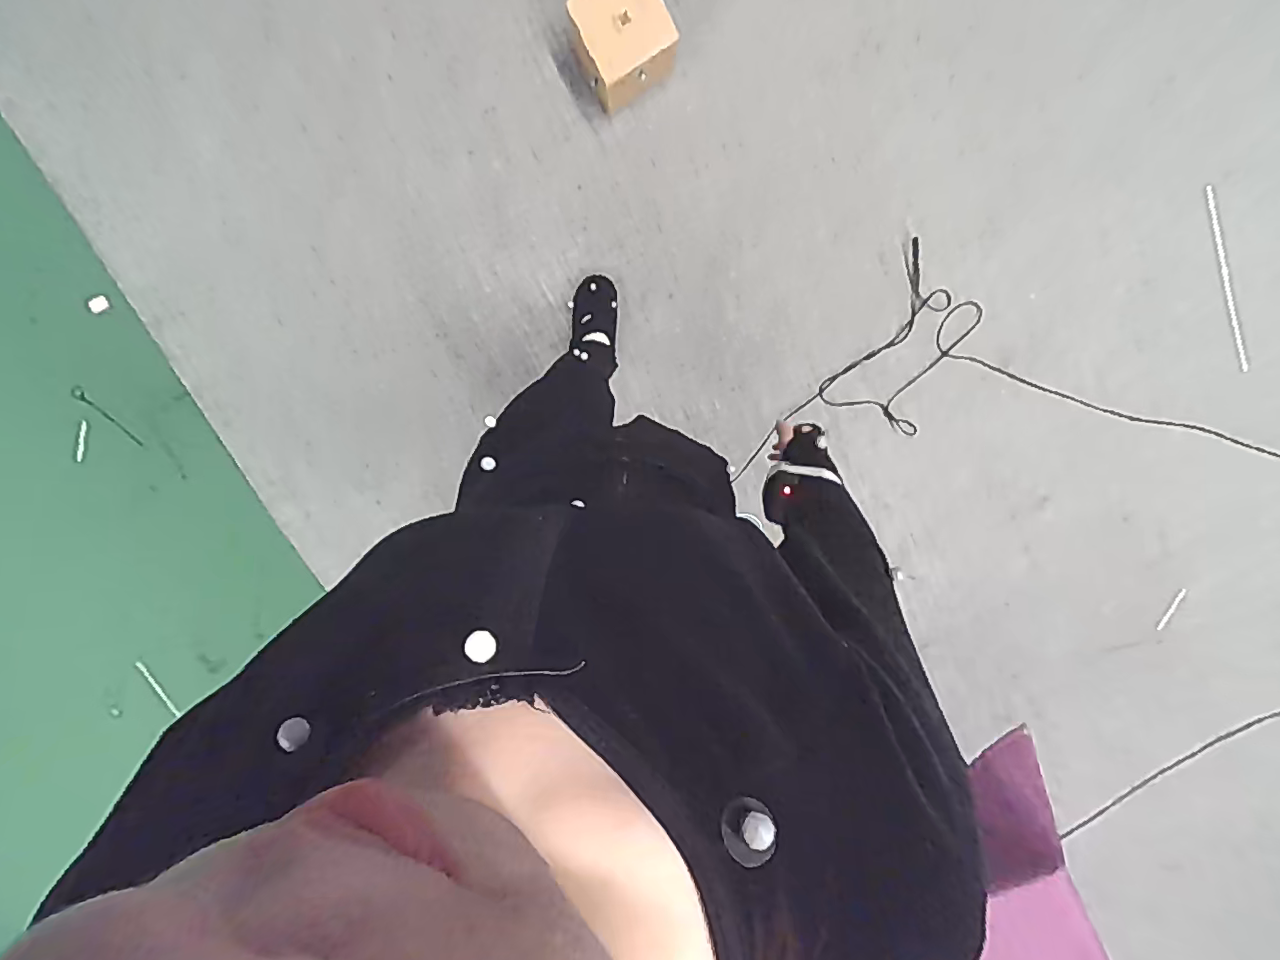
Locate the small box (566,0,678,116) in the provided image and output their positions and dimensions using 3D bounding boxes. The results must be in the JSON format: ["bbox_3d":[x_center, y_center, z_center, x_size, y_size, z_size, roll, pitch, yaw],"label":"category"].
[{"bbox_3d":[-0.035,-0.930,1.159,0.179,0.176,0.168,-28,104,7],"label":"small box"}]
